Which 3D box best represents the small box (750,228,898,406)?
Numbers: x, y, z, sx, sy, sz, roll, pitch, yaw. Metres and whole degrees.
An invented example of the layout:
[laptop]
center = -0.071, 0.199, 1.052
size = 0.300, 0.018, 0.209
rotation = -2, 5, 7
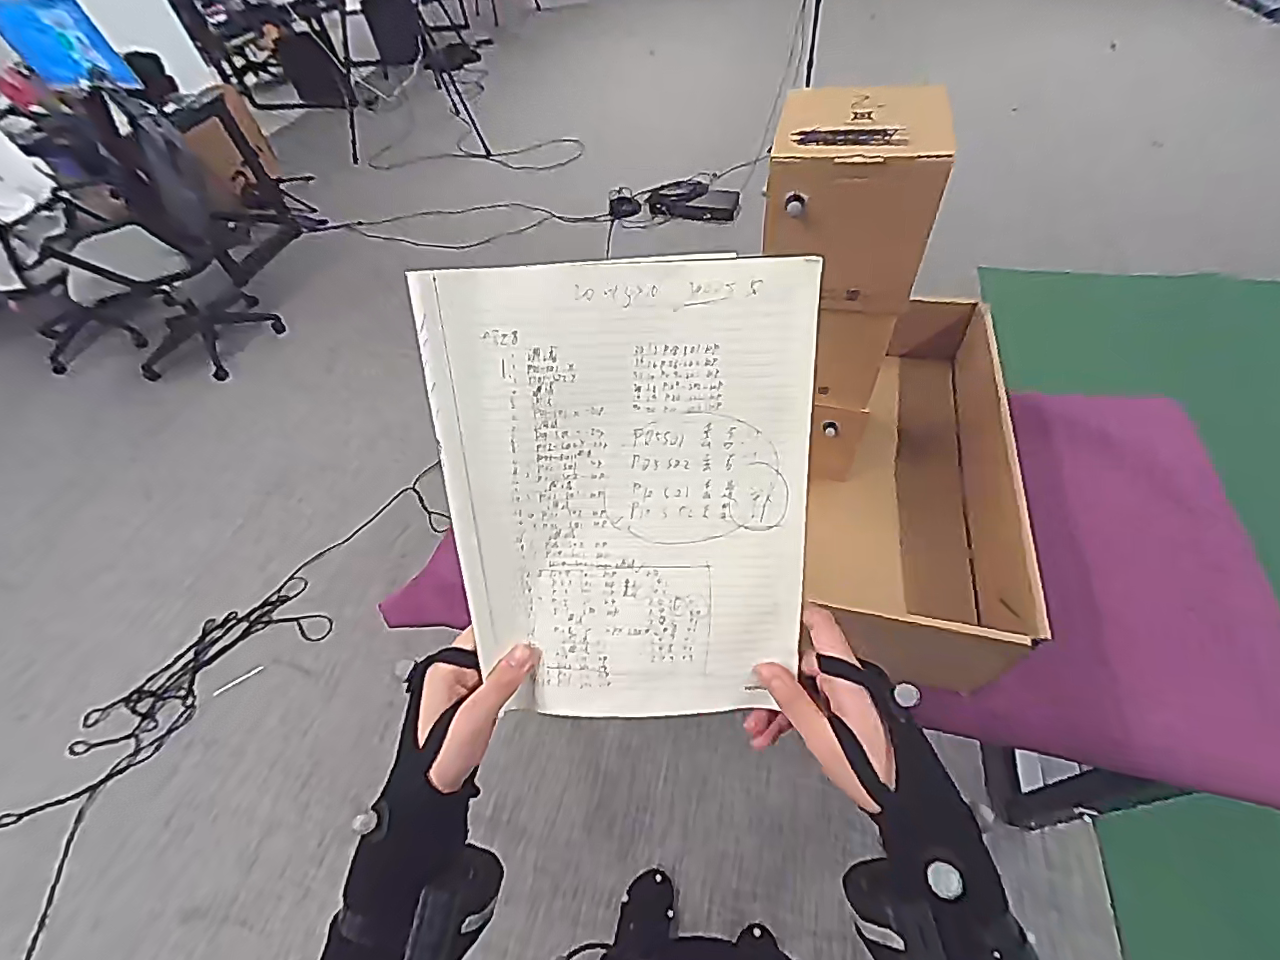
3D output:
[small box]
center = 0.249, -0.224, 0.753
size = 0.168, 0.176, 0.179
rotation = 10, 55, 15
